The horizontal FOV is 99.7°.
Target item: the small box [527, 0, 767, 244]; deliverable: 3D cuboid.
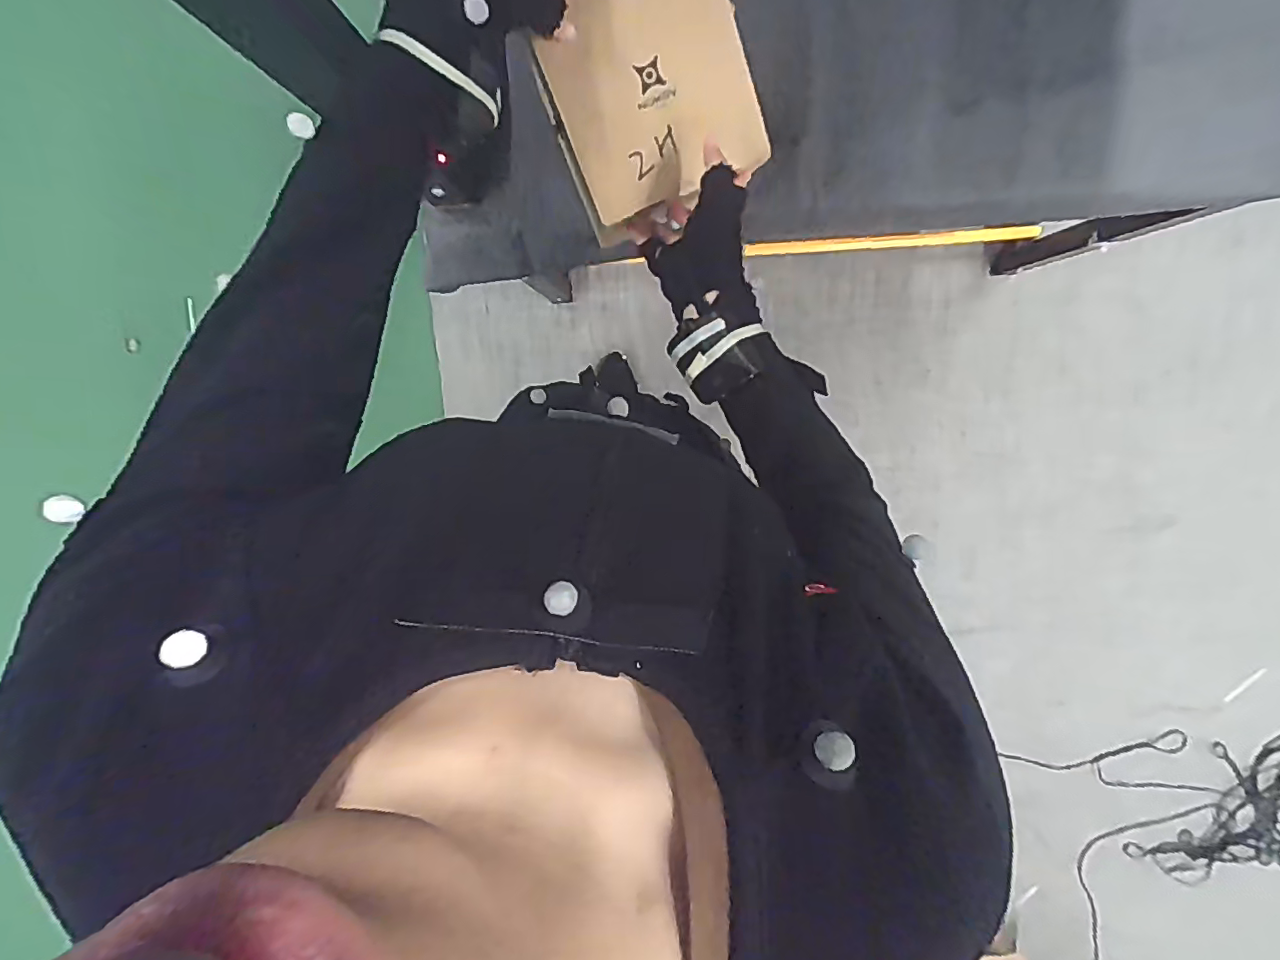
[{"bbox_3d":[0.004,-0.359,0.541,0.168,0.176,0.179,-22,108,3],"label":"small box"}]
